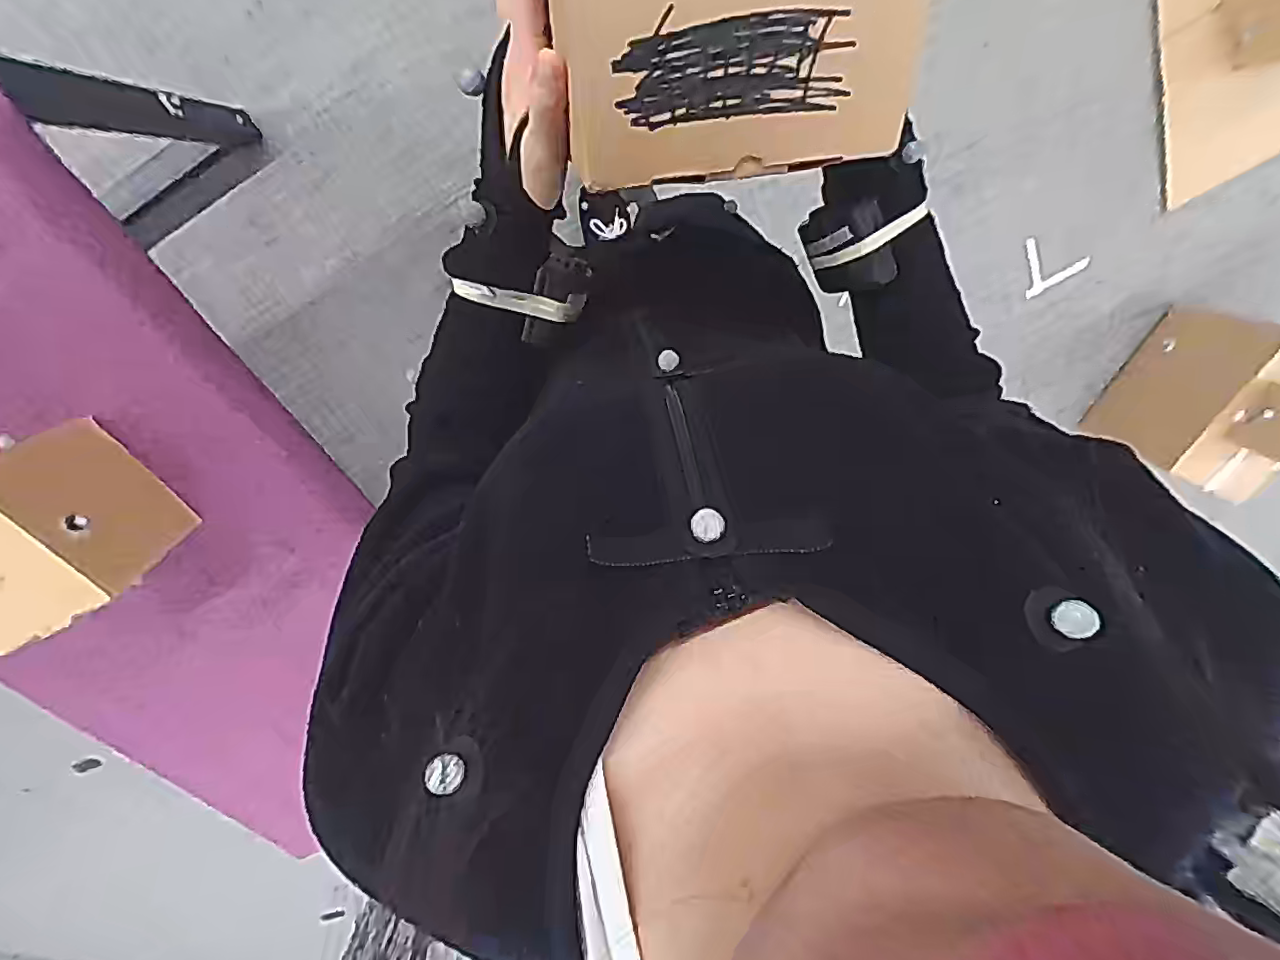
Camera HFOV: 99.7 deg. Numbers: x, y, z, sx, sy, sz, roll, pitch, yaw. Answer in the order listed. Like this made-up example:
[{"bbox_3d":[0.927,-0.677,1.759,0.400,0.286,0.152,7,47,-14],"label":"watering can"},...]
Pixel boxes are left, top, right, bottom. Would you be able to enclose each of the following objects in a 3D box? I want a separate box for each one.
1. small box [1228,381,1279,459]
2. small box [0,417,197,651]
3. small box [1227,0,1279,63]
[{"bbox_3d":[1.606,-0.123,1.295,0.179,0.176,0.168,16,115,-14],"label":"small box"},{"bbox_3d":[-0.684,0.055,0.627,0.168,0.176,0.179,-26,117,6],"label":"small box"},{"bbox_3d":[1.403,-1.023,1.124,0.179,0.176,0.168,-36,114,13],"label":"small box"}]
